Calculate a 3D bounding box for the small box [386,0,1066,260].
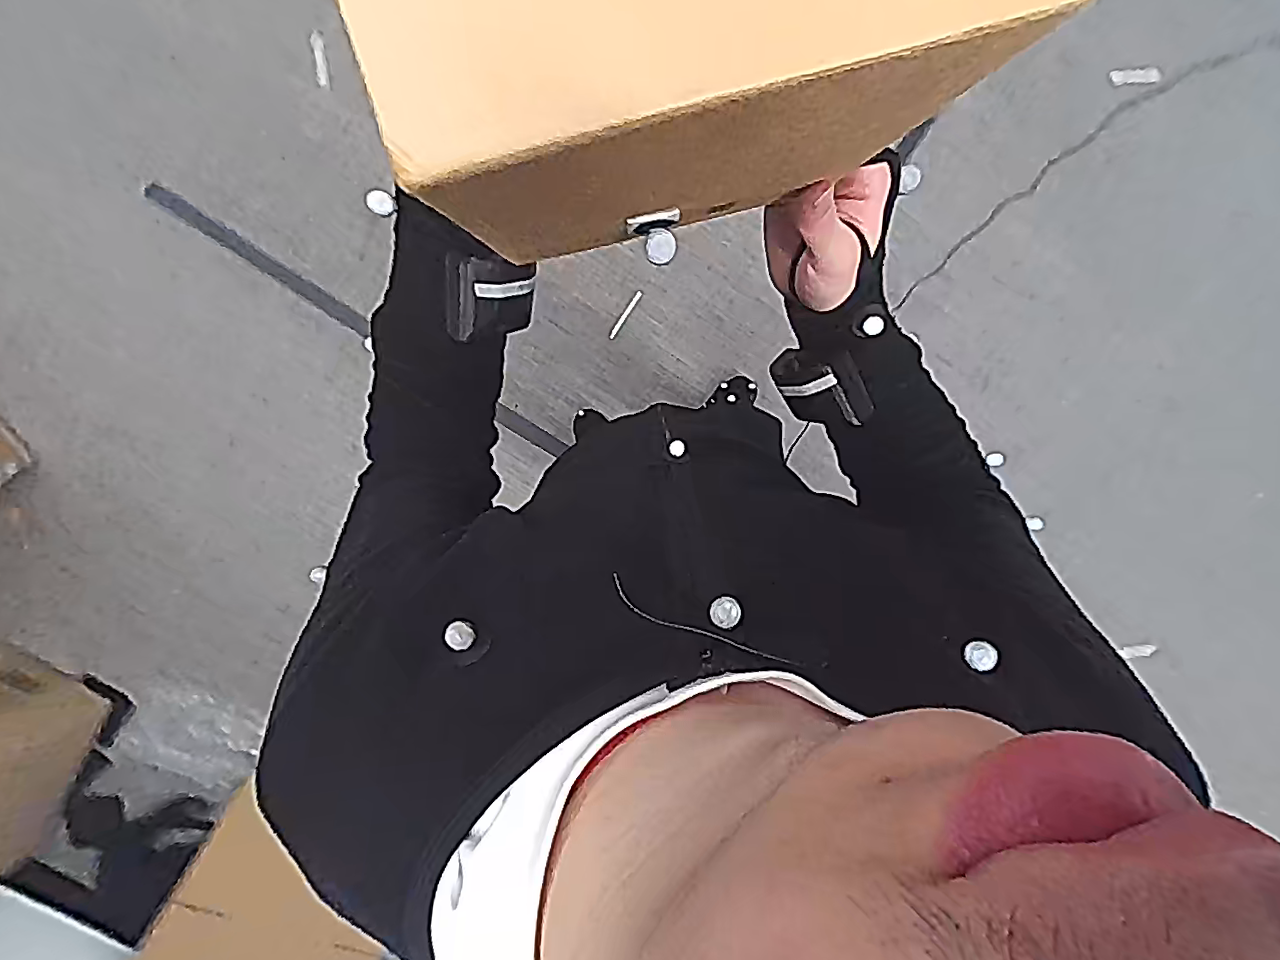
[{"bbox_3d":[0.005,-0.197,0.193,0.168,0.176,0.179,-14,105,3],"label":"small box"}]
